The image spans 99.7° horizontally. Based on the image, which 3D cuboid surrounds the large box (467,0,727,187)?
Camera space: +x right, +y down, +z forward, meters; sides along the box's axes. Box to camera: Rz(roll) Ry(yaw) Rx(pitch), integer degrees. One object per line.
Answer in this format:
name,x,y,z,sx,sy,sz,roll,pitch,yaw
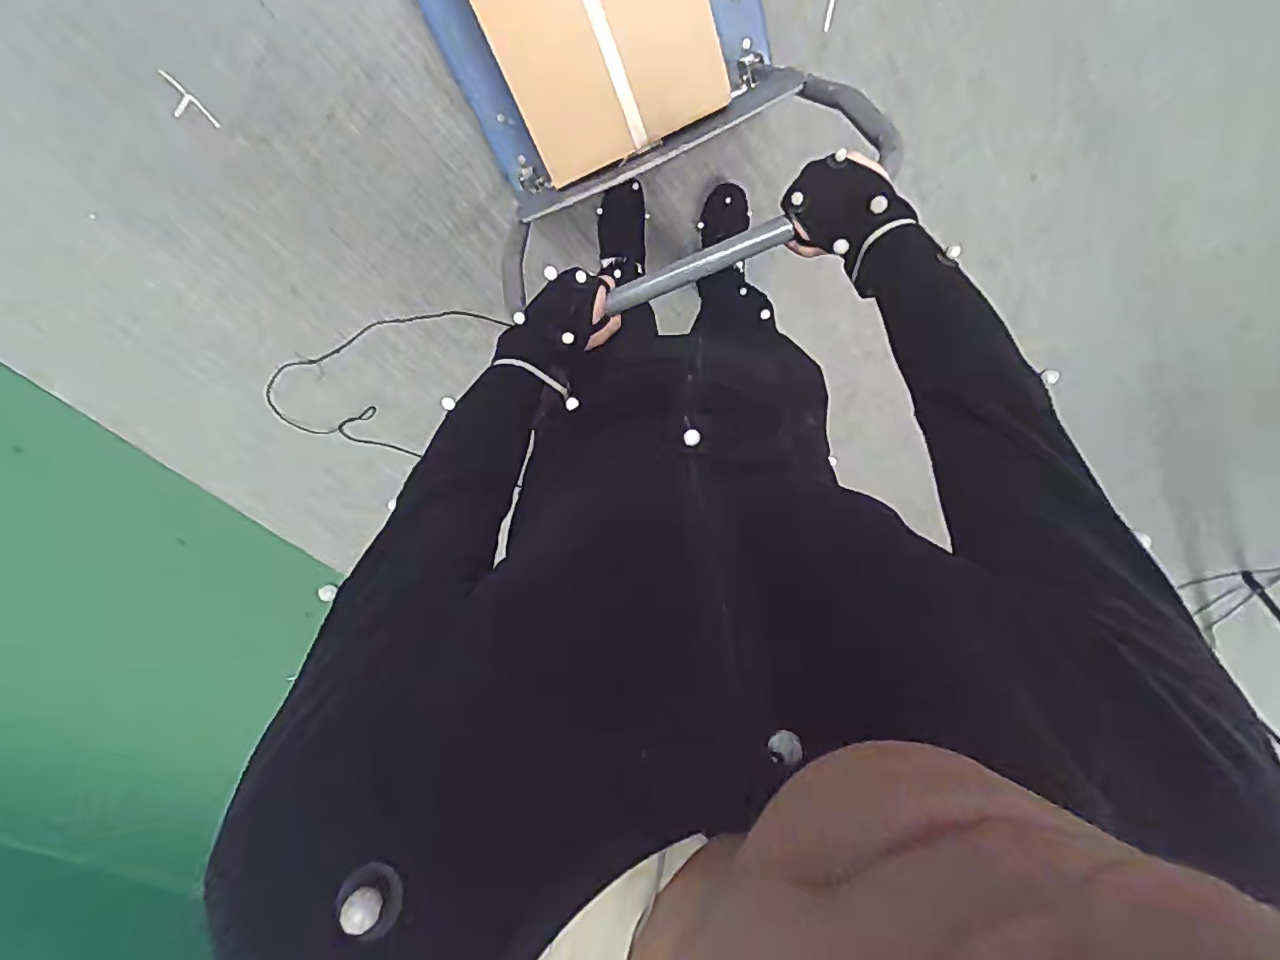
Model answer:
large box,-0.083,-0.779,0.894,0.320,0.320,0.408,-20,126,11
